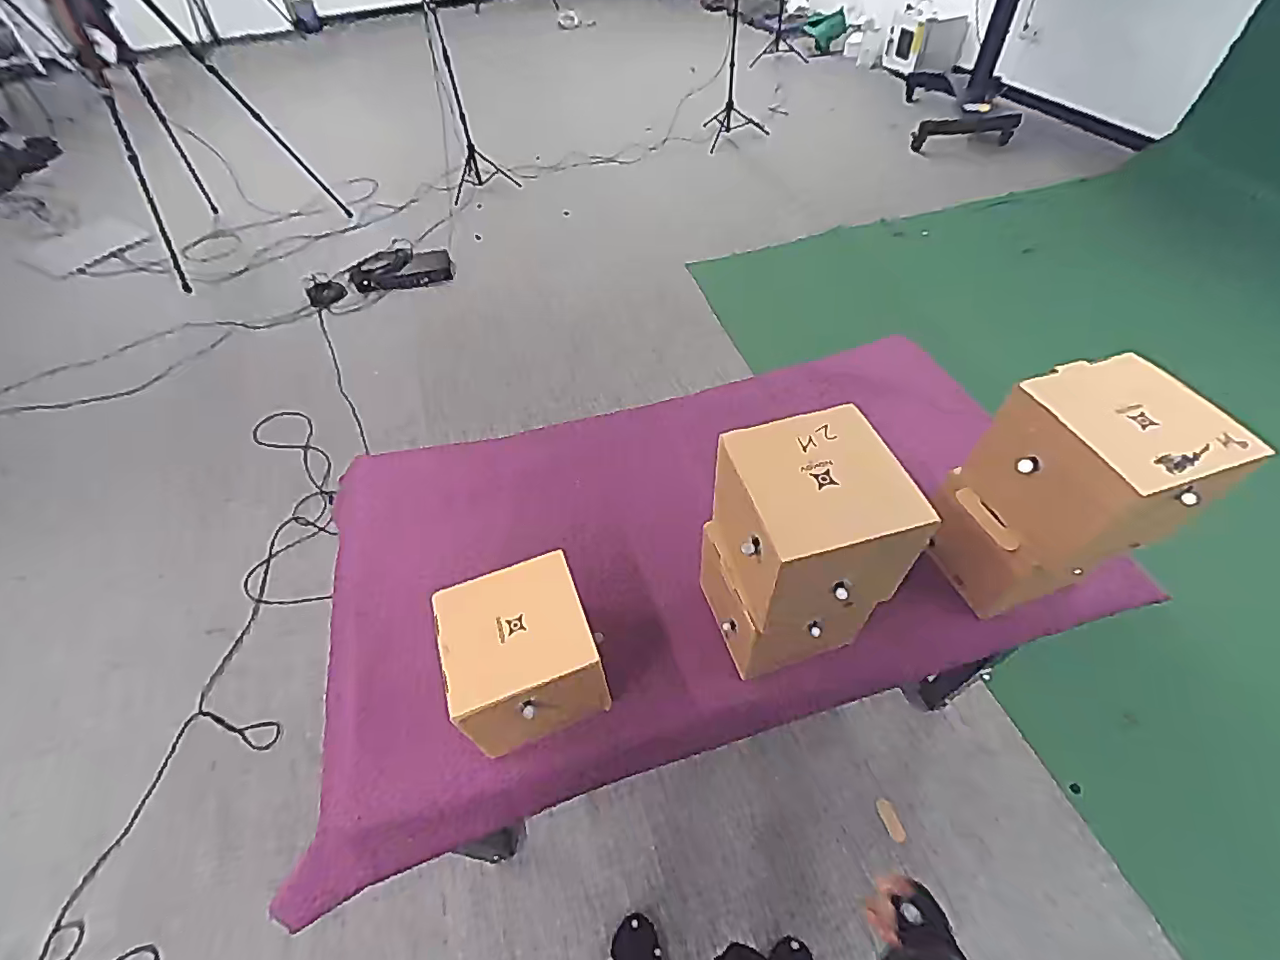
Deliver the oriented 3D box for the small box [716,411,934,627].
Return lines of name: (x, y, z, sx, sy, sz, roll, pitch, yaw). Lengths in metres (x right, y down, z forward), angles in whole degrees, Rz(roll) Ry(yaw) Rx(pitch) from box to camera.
small box: (0.194, 0.052, 0.627, 0.168, 0.176, 0.179, -13, 50, -6)

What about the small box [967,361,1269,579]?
small box: (0.540, -0.011, 0.649, 0.168, 0.176, 0.179, -16, 51, -7)

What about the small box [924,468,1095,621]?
small box: (0.547, 0.080, 0.787, 0.179, 0.176, 0.168, -17, 52, -9)

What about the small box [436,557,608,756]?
small box: (-0.147, 0.235, 0.717, 0.179, 0.176, 0.168, -19, 51, -10)

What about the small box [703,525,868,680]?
small box: (0.197, 0.155, 0.755, 0.179, 0.176, 0.168, -15, 50, -8)
